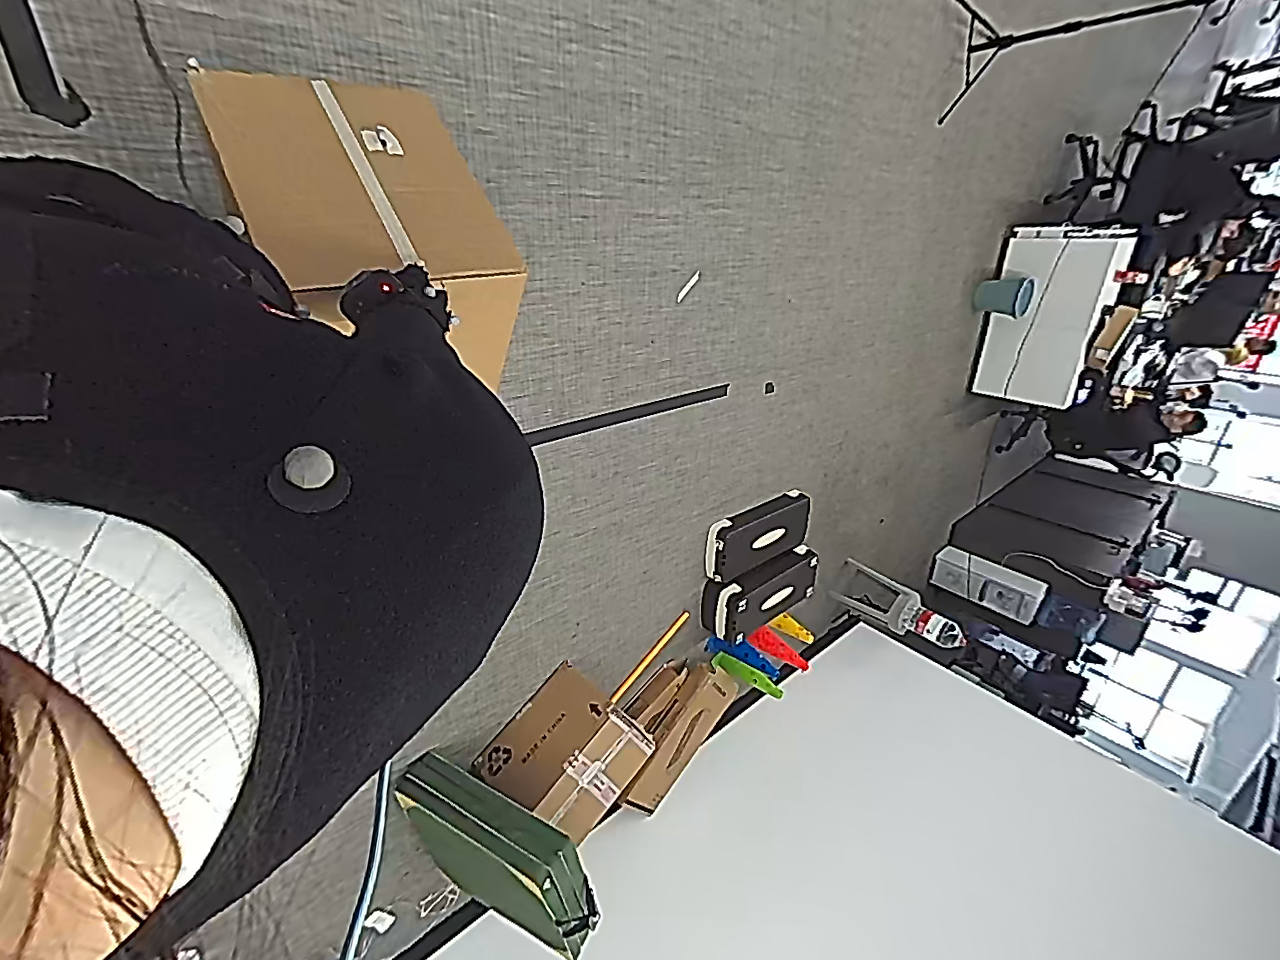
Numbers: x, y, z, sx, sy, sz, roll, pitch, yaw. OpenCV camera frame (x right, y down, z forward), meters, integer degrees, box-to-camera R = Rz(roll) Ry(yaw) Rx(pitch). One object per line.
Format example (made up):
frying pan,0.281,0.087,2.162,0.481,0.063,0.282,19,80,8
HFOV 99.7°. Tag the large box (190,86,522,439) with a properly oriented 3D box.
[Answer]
large box,-0.439,-0.338,0.871,0.320,0.408,0.320,-20,160,-34
